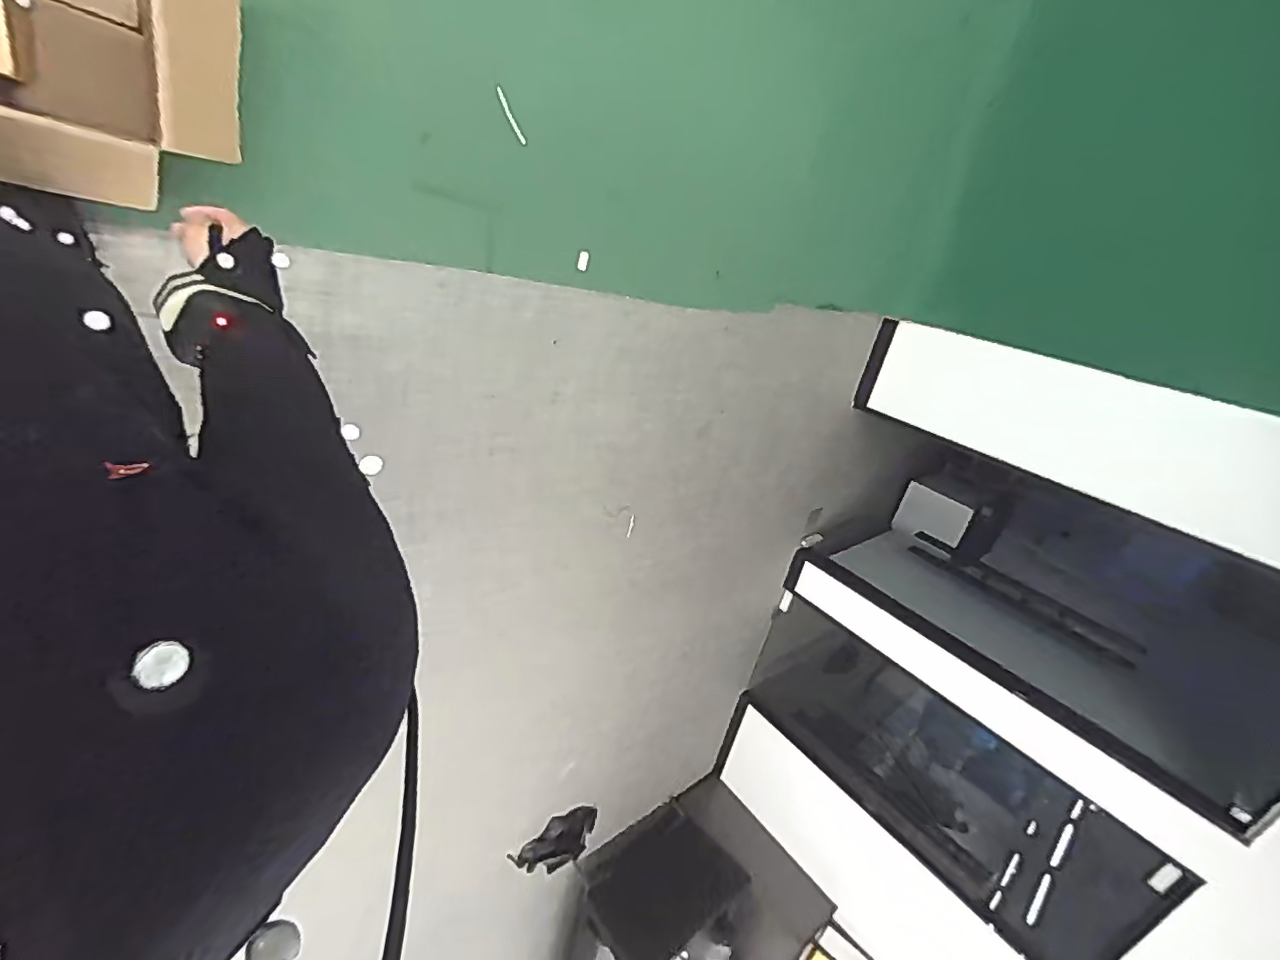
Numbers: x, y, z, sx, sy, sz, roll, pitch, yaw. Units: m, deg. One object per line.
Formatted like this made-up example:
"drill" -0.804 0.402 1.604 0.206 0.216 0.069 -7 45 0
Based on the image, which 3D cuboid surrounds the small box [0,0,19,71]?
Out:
"small box" -0.756 -0.543 0.536 0.168 0.176 0.179 -5 120 -43
